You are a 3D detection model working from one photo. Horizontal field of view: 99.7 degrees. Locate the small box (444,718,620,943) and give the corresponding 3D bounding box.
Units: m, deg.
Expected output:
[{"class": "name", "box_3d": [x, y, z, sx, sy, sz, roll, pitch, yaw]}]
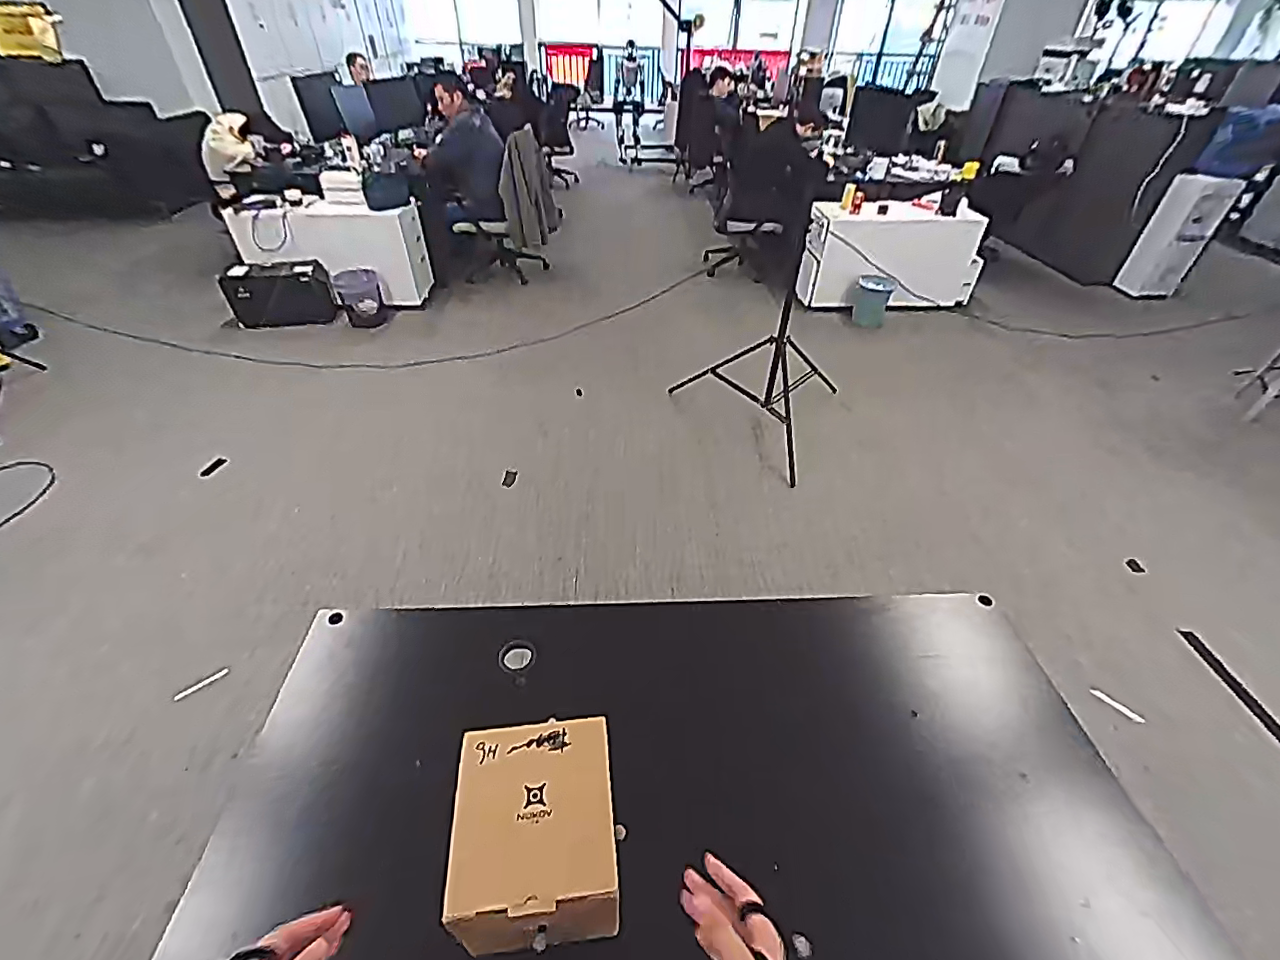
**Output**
[{"class": "small box", "box_3d": [-0.112, 0.406, 0.625, 0.168, 0.176, 0.179, -4, 40, -6]}]
